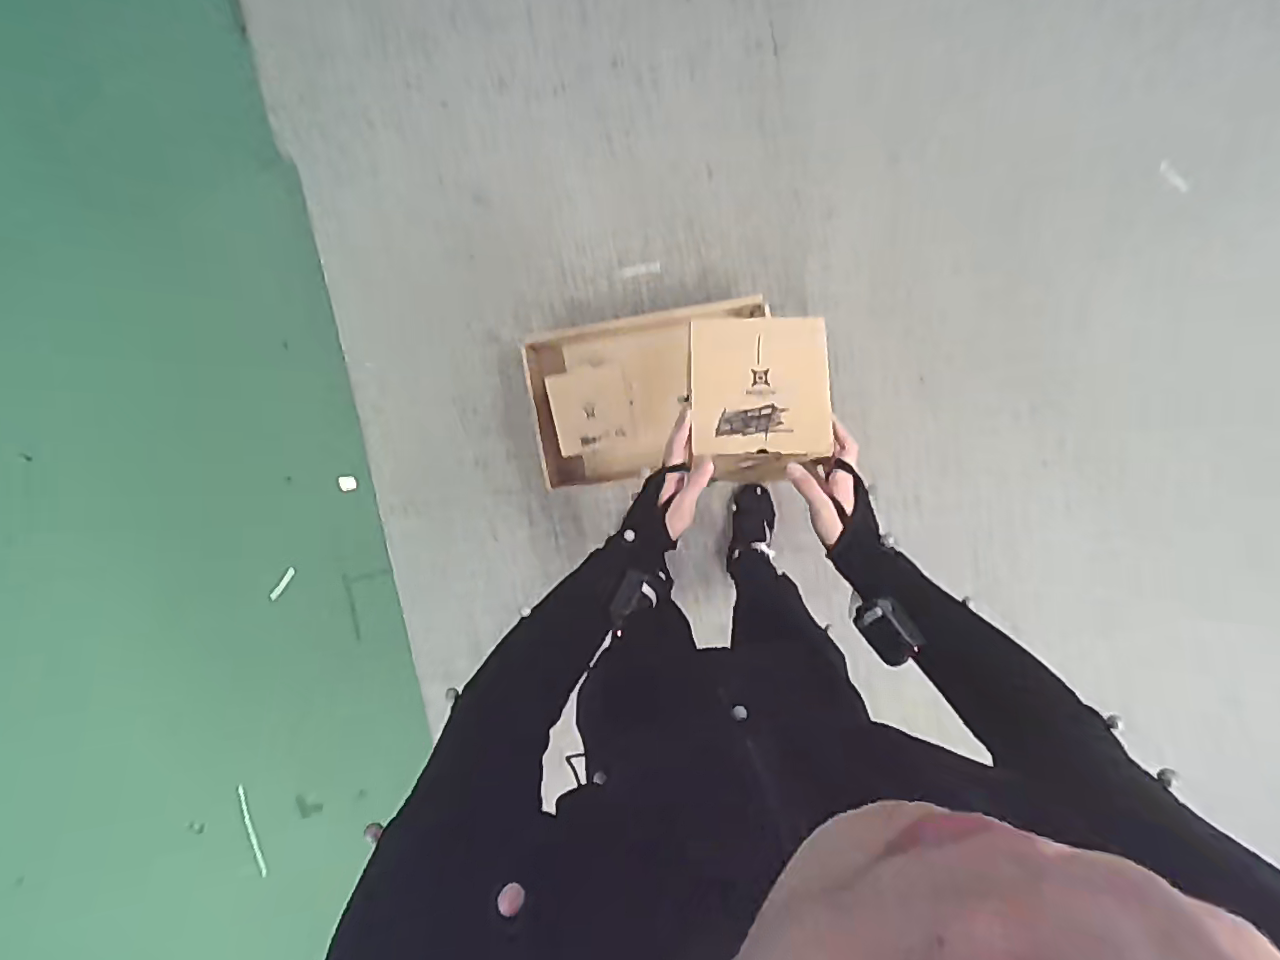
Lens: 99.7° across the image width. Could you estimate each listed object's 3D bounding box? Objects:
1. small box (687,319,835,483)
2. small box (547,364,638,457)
[{"bbox_3d":[0.148,-0.092,0.713,0.168,0.176,0.179,-1,78,3],"label":"small box"},{"bbox_3d":[-0.101,-0.153,1.232,0.168,0.176,0.179,-12,95,3],"label":"small box"}]
